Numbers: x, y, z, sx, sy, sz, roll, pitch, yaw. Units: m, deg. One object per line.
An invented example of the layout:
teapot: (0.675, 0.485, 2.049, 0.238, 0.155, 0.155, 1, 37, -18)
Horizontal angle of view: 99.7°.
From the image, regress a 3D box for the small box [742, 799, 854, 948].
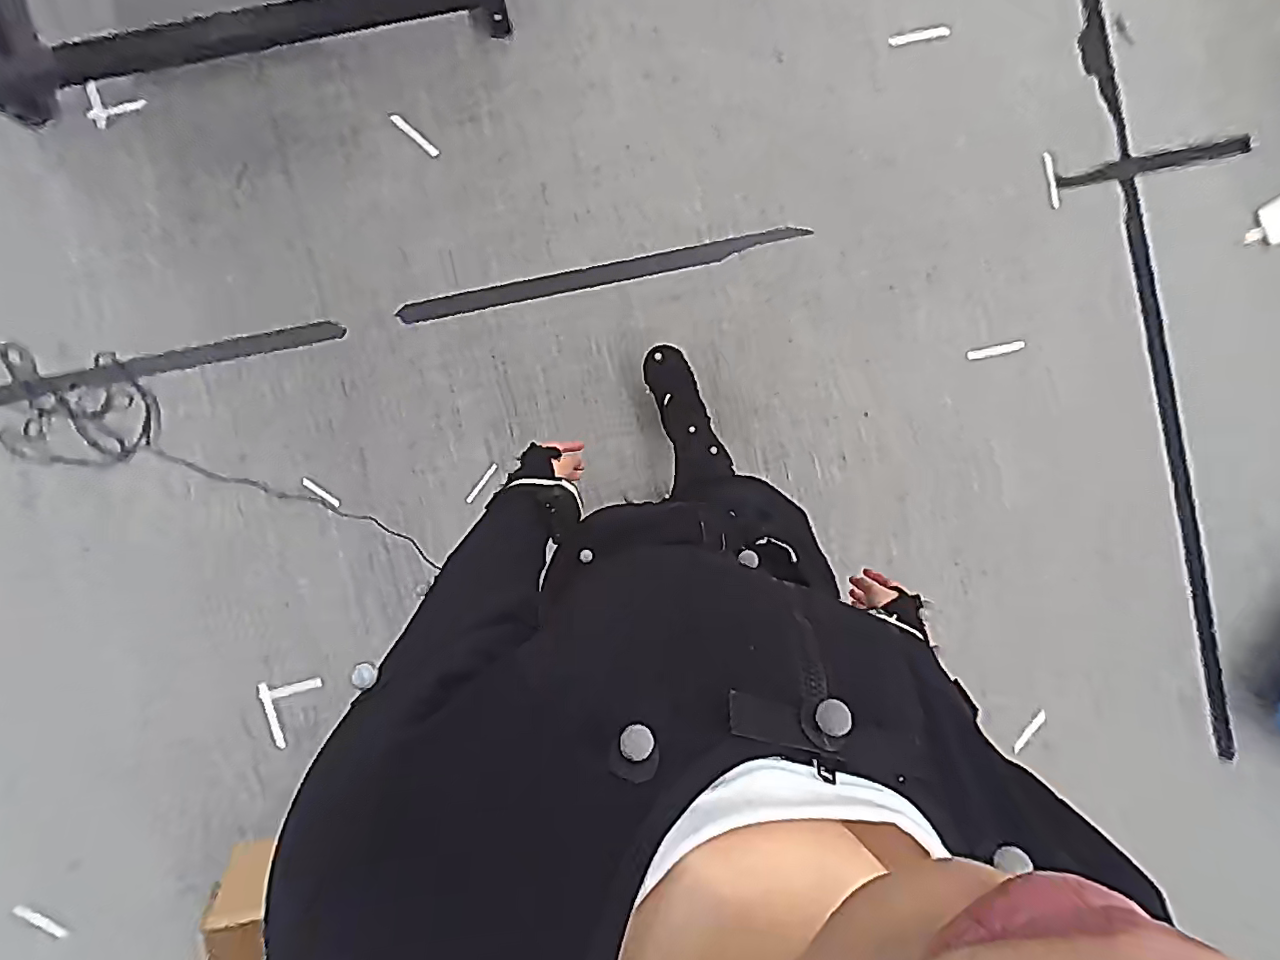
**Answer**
small box: (0.332, 0.837, 1.165, 0.168, 0.176, 0.179, -15, 92, -2)
